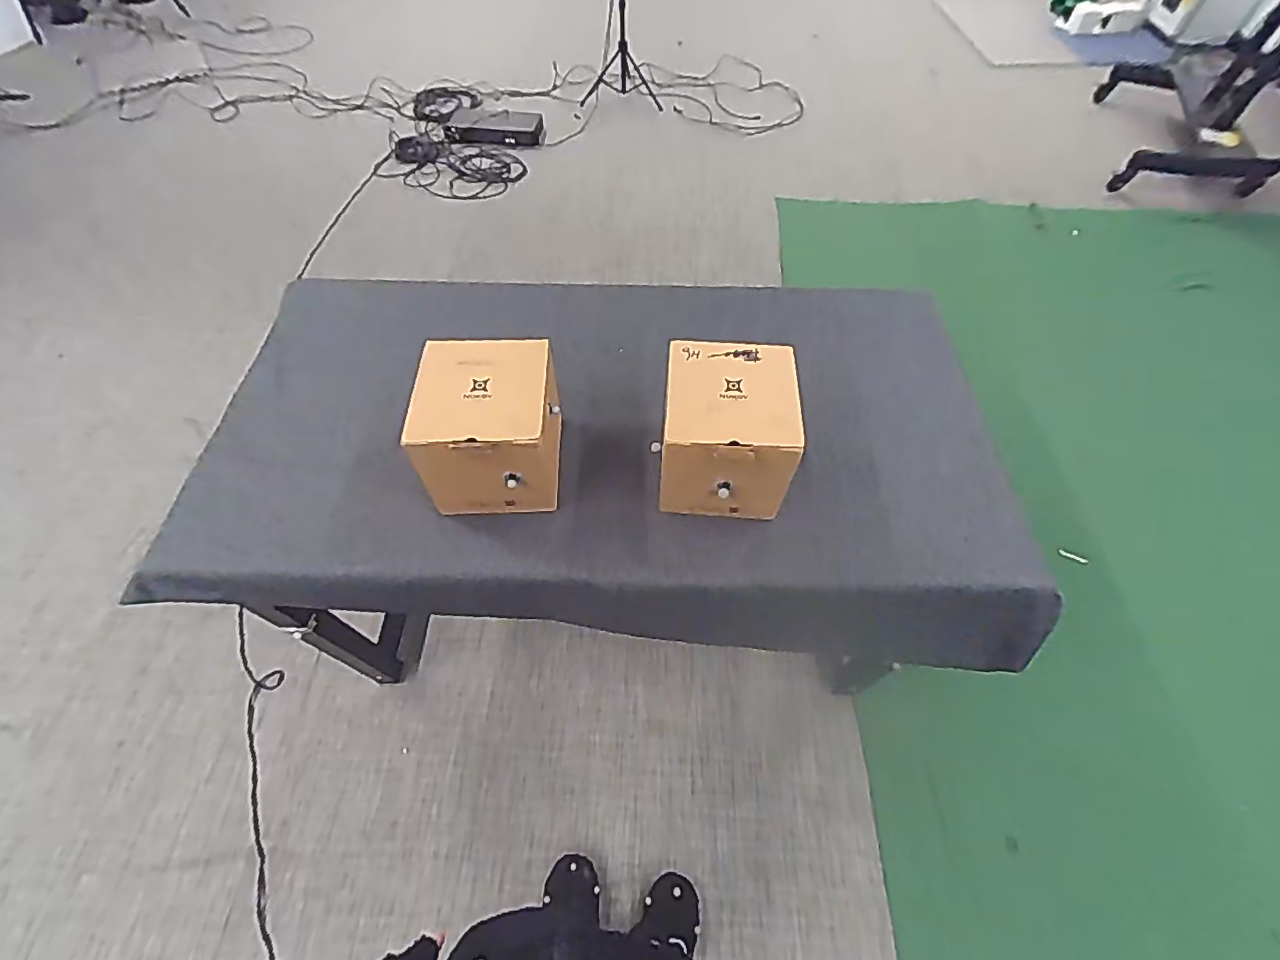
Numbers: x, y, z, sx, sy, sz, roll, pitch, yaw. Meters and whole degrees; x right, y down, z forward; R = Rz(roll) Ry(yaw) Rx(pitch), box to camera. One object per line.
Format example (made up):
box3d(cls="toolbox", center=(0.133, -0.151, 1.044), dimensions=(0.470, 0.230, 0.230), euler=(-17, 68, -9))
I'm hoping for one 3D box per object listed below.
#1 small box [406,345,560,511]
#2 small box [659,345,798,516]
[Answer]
box3d(cls="small box", center=(-0.203, -0.066, 0.755), dimensions=(0.168, 0.176, 0.179), euler=(-1, 55, -3))
box3d(cls="small box", center=(0.114, -0.063, 0.754), dimensions=(0.168, 0.176, 0.179), euler=(3, 57, 2))
